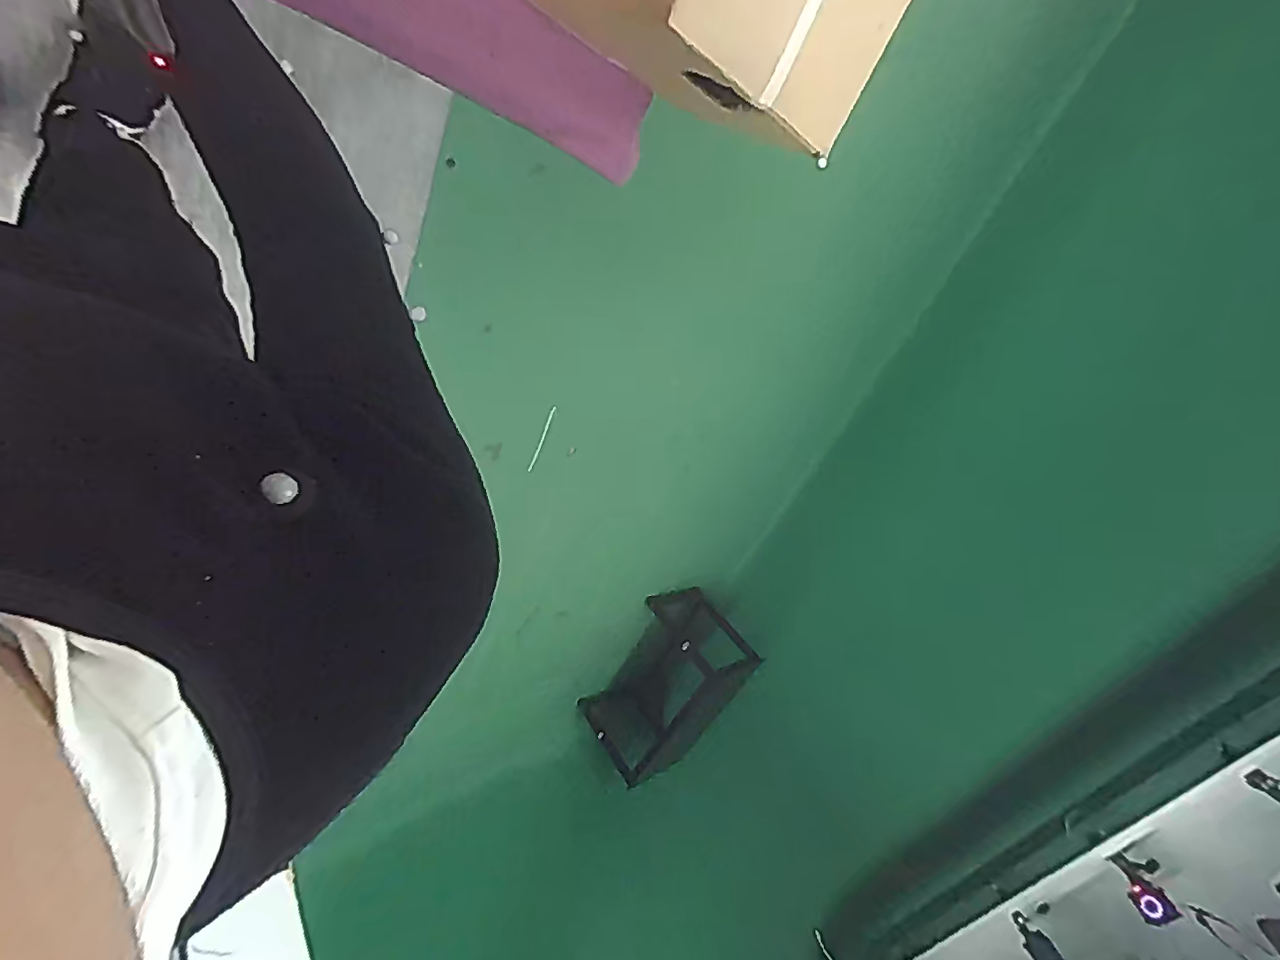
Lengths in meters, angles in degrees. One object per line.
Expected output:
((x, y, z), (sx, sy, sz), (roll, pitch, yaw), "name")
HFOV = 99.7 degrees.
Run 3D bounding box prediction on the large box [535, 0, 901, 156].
((0.127, -0.673, 0.602), (0.320, 0.320, 0.408), (-1, 129, -45), "large box")
